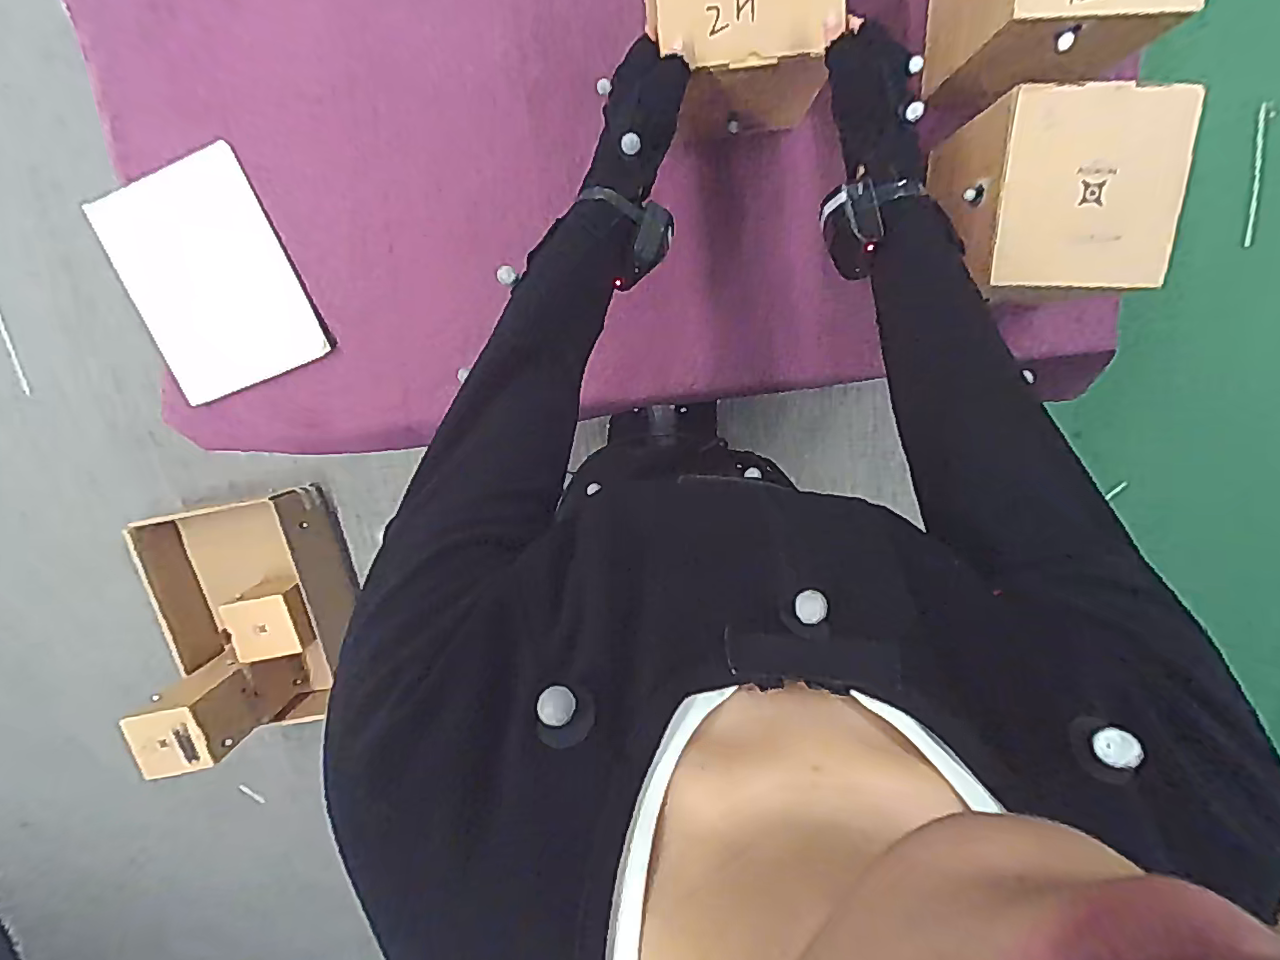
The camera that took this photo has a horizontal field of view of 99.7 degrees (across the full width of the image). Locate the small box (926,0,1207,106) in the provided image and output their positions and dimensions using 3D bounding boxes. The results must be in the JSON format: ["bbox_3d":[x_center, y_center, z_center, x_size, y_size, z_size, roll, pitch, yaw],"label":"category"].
[{"bbox_3d":[0.405,-0.502,0.528,0.168,0.176,0.179,0,103,1],"label":"small box"}]

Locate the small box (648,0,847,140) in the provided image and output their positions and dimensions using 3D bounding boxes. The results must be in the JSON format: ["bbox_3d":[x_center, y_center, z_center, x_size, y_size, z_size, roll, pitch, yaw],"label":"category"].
[{"bbox_3d":[0.095,-0.472,0.539,0.168,0.176,0.179,-5,104,2],"label":"small box"}]
